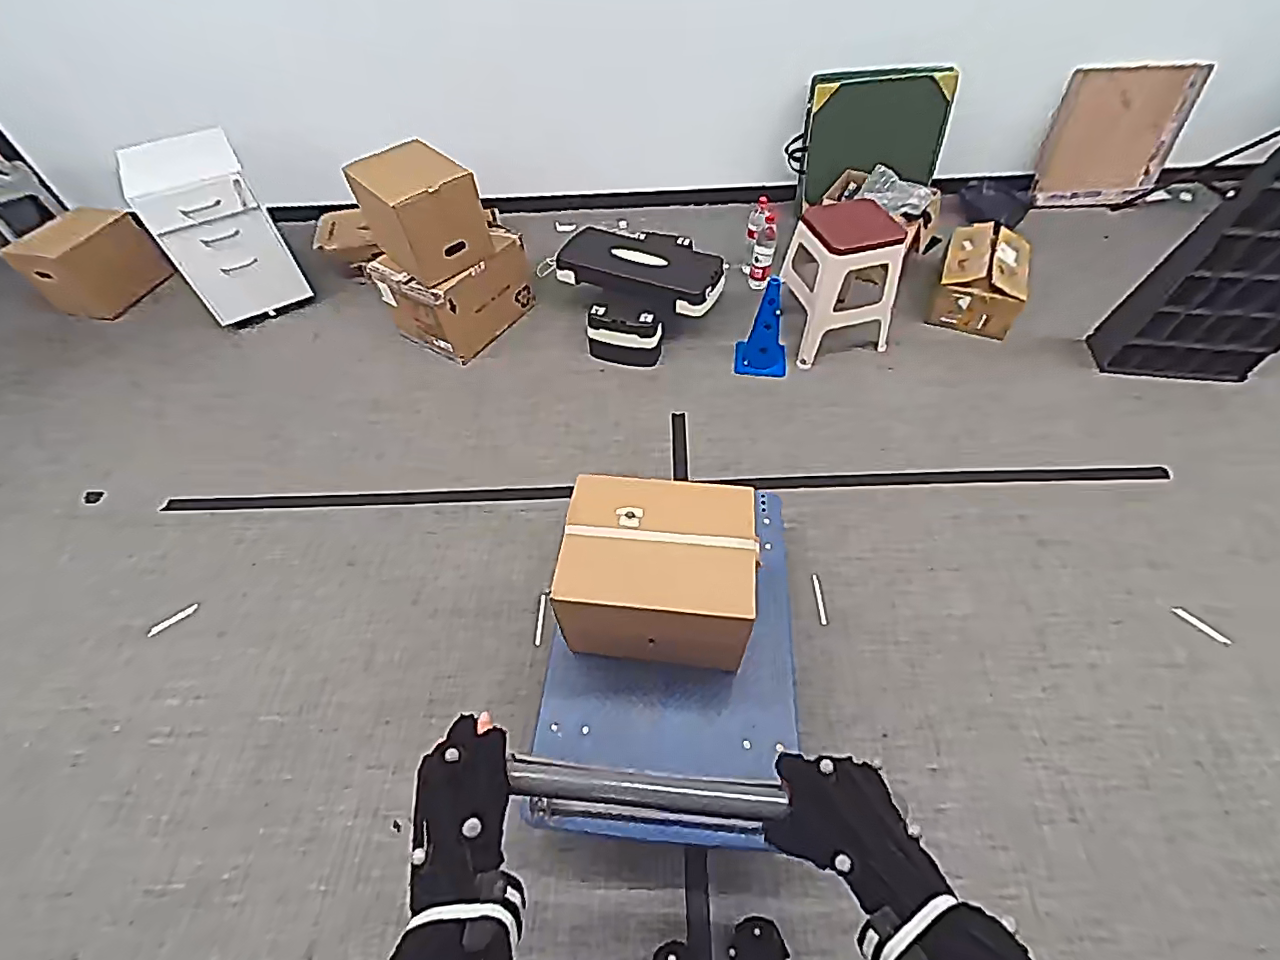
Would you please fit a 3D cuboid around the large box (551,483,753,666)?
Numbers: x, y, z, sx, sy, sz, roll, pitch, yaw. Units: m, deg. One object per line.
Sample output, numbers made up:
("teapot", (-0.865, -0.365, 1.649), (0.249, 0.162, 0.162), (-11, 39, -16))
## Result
("large box", (0.044, 0.225, 1.258), (0.408, 0.320, 0.320), (3, 53, 6))
